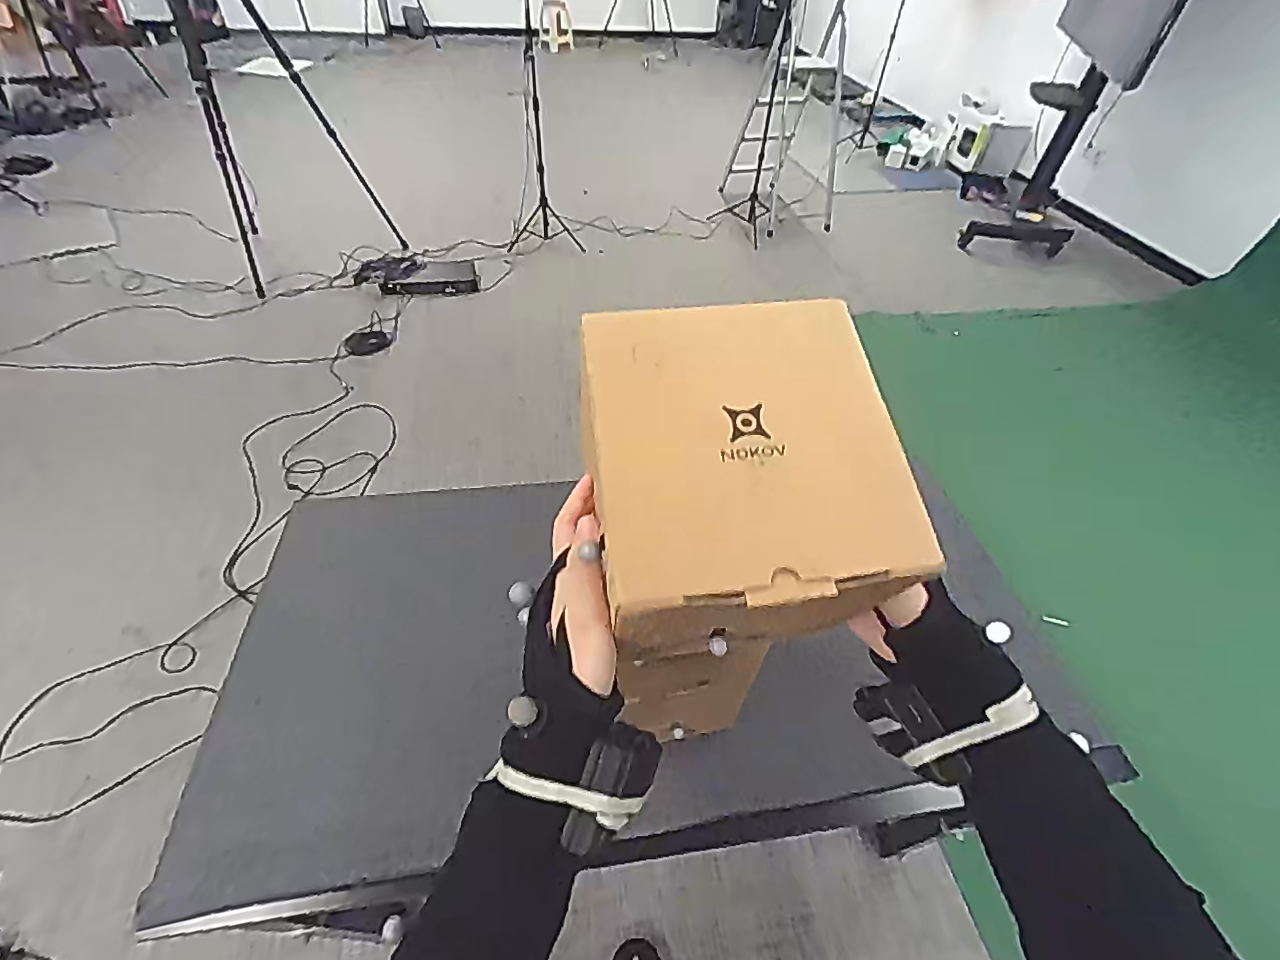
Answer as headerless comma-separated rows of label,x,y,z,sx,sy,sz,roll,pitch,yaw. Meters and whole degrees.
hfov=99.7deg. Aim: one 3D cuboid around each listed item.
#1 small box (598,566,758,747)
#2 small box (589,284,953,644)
small box,0.035,0.221,0.709,0.168,0.176,0.179,-7,47,-9
small box,0.055,-0.003,0.361,0.168,0.176,0.179,-6,64,-8
